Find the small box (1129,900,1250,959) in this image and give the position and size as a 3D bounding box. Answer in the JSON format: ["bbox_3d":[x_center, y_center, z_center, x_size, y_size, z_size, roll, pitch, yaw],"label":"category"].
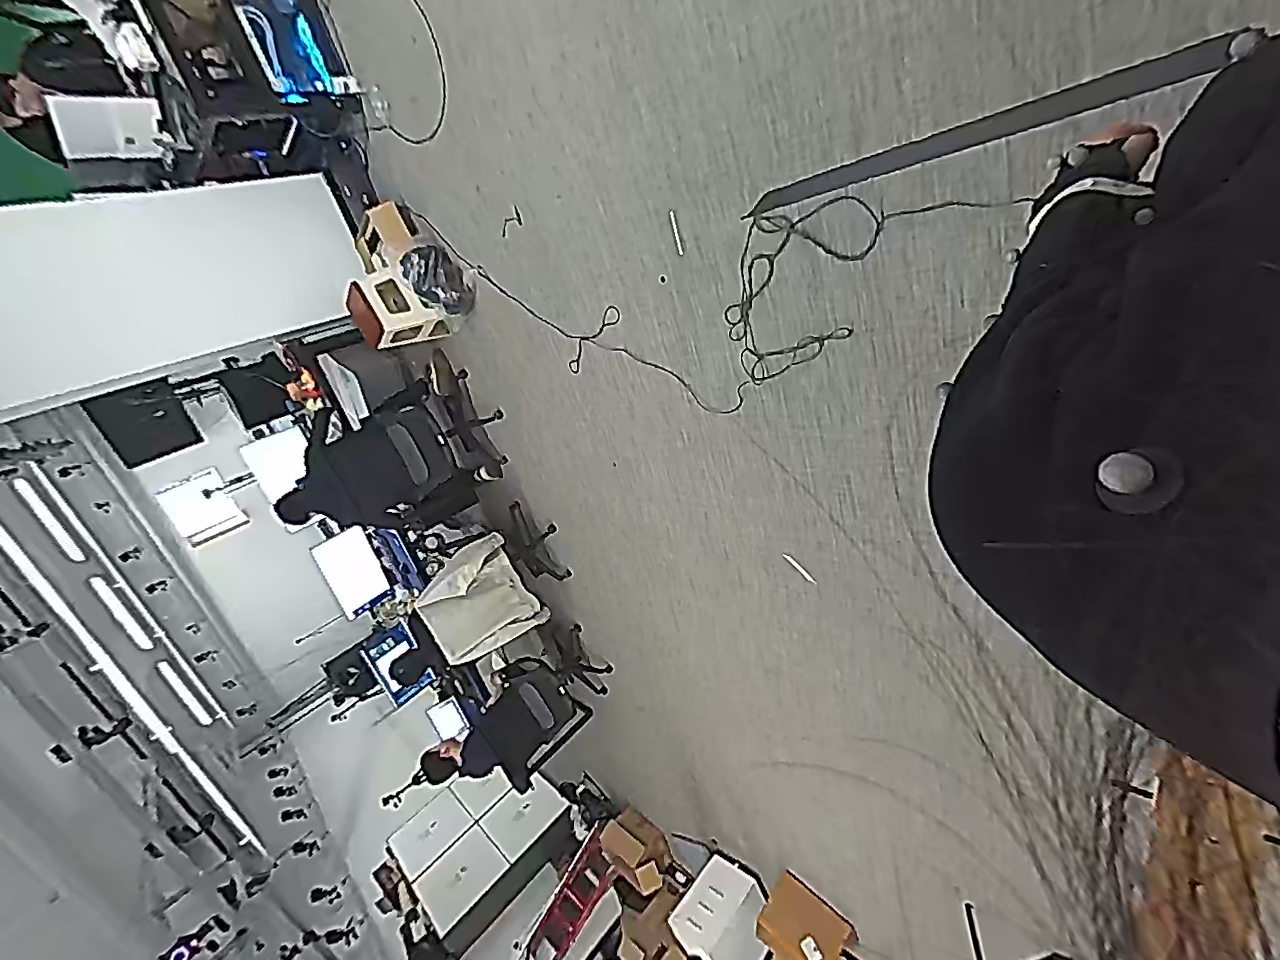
[{"bbox_3d":[1.108,1.016,1.097,0.168,0.176,0.179,7,123,46],"label":"small box"}]

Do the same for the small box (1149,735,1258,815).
[{"bbox_3d":[1.438,0.791,1.383,0.179,0.176,0.168,7,122,47],"label":"small box"}]

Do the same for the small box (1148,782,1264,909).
[{"bbox_3d":[1.331,0.863,1.281,0.179,0.176,0.168,9,123,45],"label":"small box"}]

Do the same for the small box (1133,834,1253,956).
[{"bbox_3d":[1.216,0.939,1.194,0.168,0.176,0.179,9,123,46],"label":"small box"}]
